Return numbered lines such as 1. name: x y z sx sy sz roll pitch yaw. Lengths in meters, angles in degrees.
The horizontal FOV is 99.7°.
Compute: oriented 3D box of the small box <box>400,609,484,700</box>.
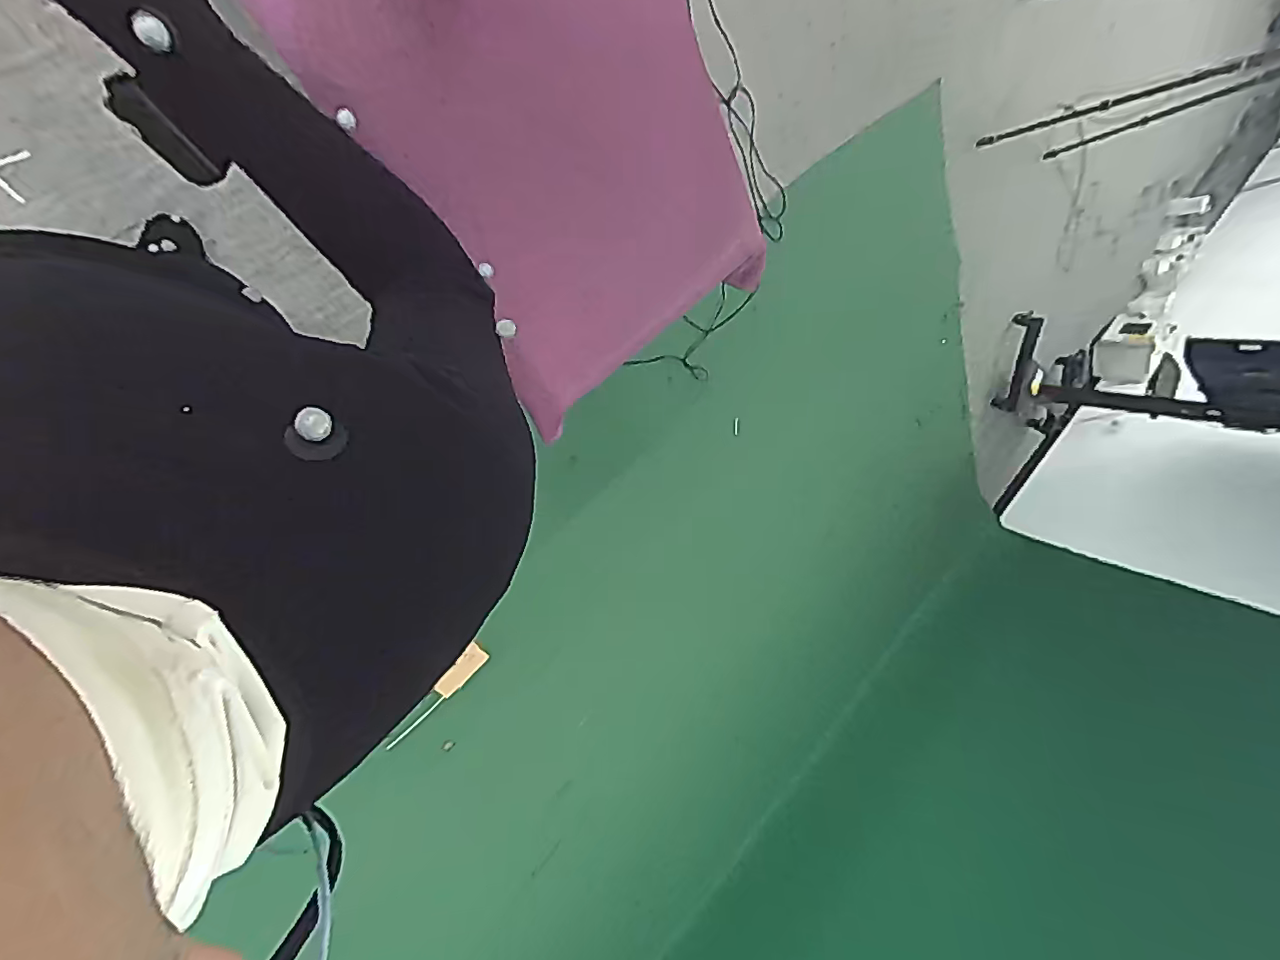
1. small box: -0.634 0.548 1.713 0.179 0.176 0.168 -43 126 -18
